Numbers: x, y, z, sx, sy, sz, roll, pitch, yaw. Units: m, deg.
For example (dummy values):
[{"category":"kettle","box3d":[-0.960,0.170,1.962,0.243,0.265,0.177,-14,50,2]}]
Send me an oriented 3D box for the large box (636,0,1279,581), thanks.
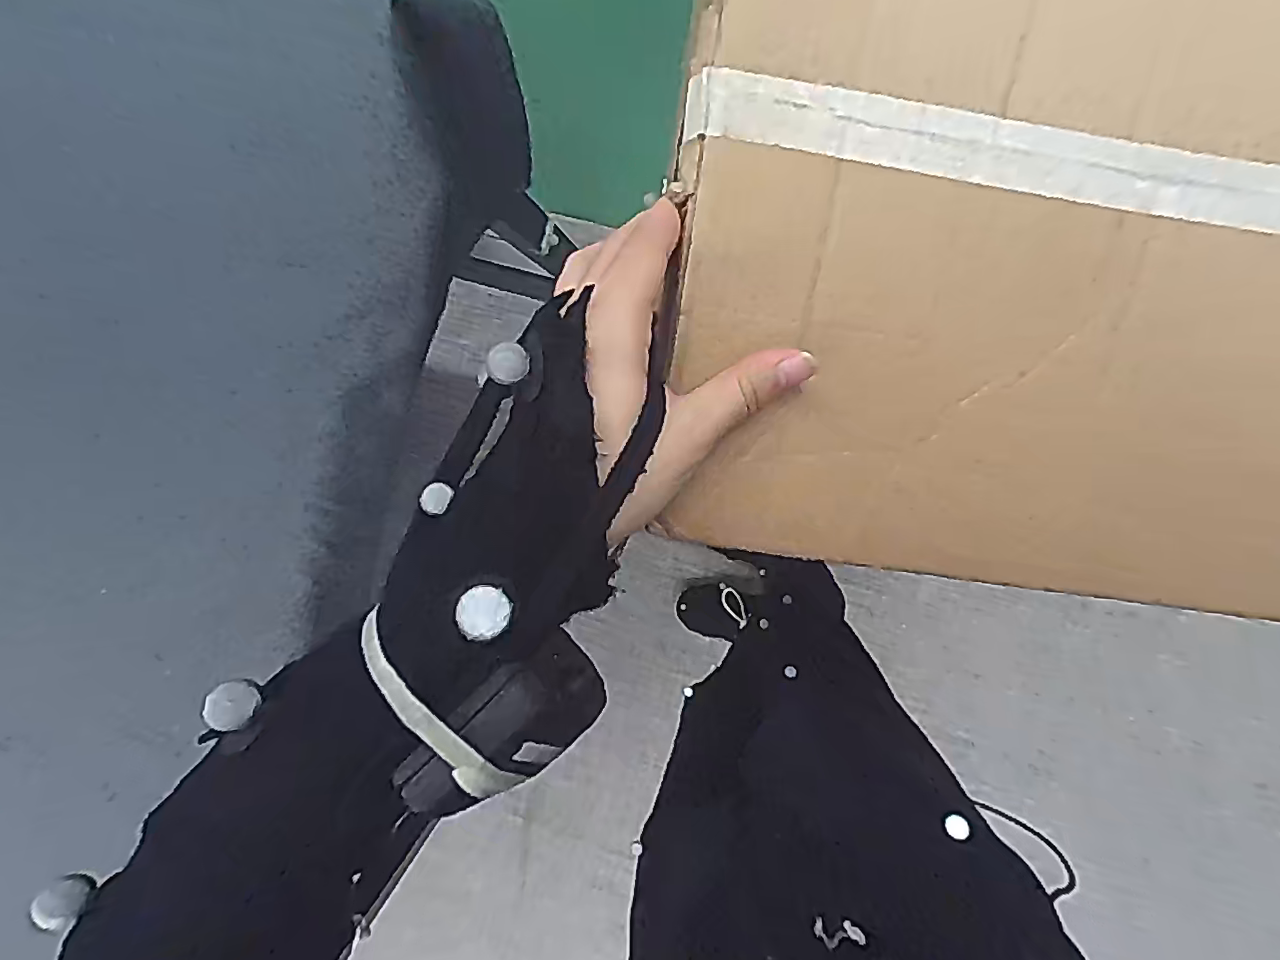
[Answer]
[{"category":"large box","box3d":[0.214,-0.144,0.361,0.408,0.320,0.320,7,102,-4]}]
